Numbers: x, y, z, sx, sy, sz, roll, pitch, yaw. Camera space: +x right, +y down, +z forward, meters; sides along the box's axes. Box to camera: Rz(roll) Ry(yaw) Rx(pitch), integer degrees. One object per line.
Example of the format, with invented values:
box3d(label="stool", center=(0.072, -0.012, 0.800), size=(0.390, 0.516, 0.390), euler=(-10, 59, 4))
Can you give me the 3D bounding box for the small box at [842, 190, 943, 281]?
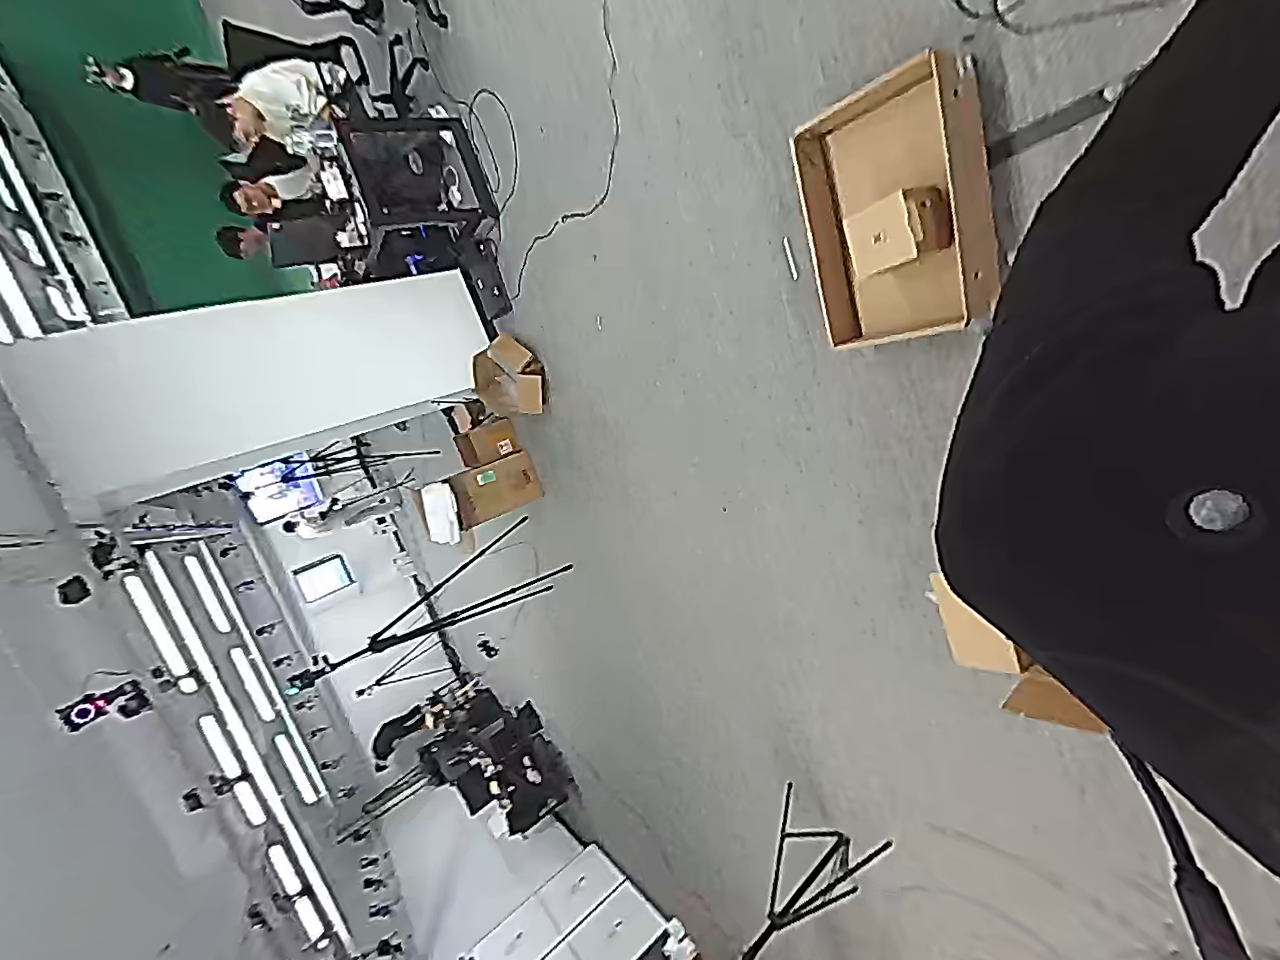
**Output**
box3d(label="small box", center=(0.674, -0.647, 1.429), size=(0.179, 0.176, 0.168), euler=(-5, 105, 57))
